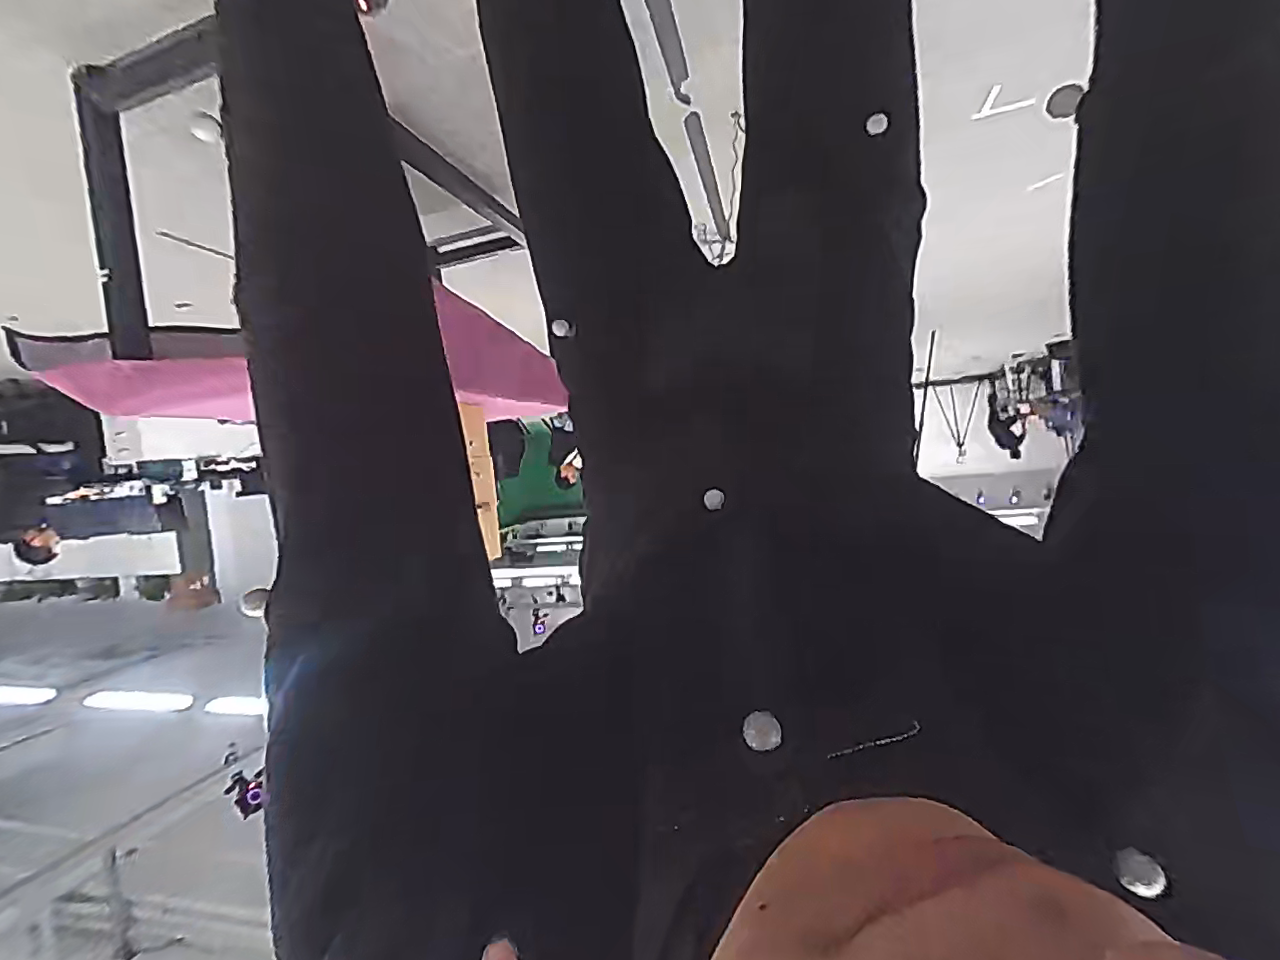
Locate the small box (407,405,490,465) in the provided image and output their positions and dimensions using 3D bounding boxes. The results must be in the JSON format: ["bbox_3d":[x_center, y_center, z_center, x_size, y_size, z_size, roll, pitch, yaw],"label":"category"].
[{"bbox_3d":[-0.593,-0.141,1.680,0.168,0.176,0.179,-5,-177,27],"label":"small box"}]

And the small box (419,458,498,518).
[{"bbox_3d":[-0.576,0.021,1.710,0.179,0.176,0.168,-5,-176,22],"label":"small box"}]
